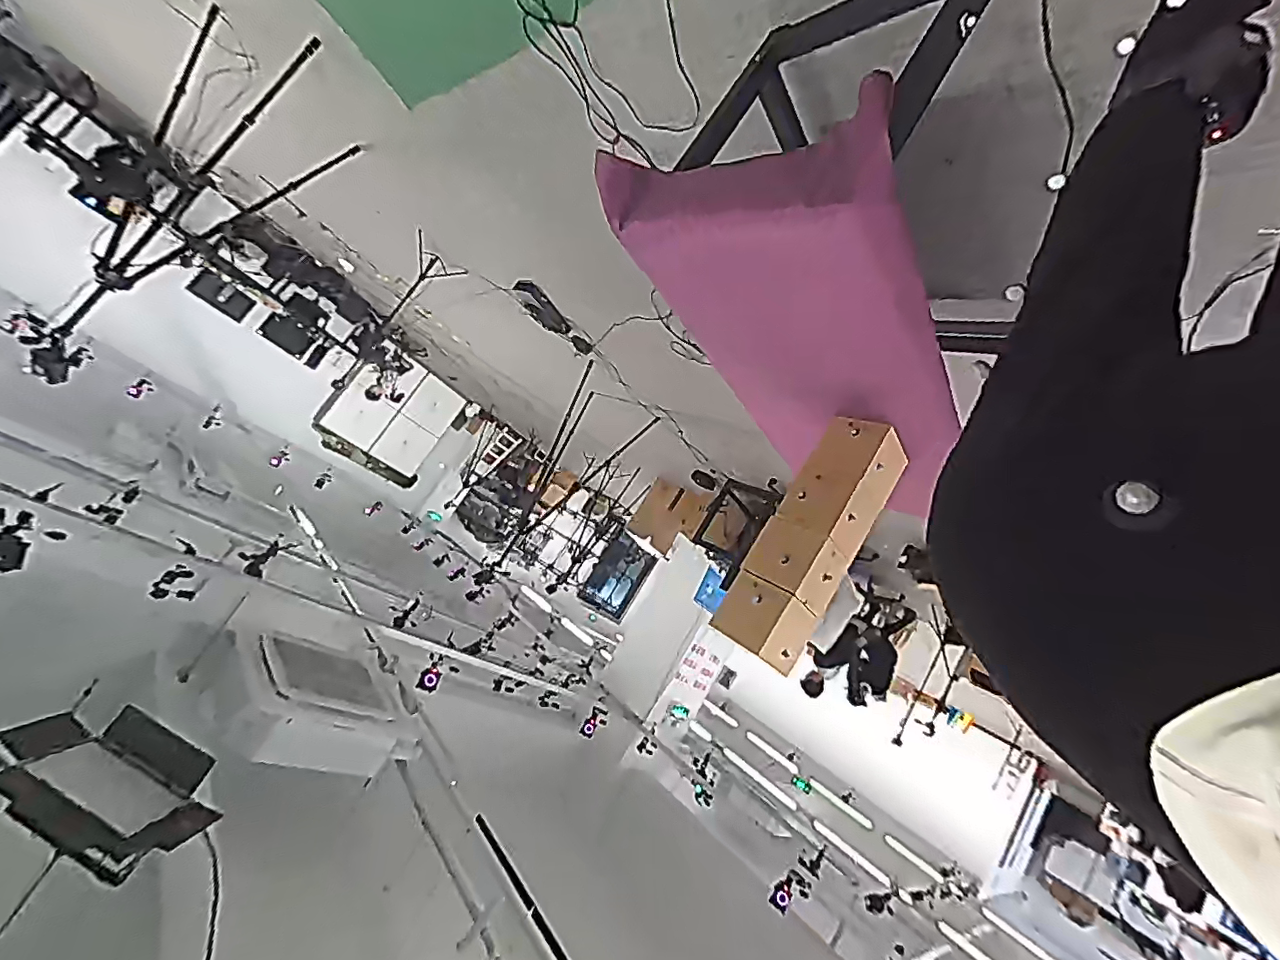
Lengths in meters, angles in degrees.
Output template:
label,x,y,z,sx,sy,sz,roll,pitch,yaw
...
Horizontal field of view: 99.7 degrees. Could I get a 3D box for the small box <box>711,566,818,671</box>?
label,x,y,z,sx,sy,sz,roll,pitch,yaw
small box,0.318,0.344,1.357,0.168,0.176,0.179,23,165,49

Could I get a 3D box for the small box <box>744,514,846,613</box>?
label,x,y,z,sx,sy,sz,roll,pitch,yaw
small box,0.405,0.208,1.388,0.179,0.176,0.168,22,164,48

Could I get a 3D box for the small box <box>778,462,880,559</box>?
label,x,y,z,sx,sy,sz,roll,pitch,yaw
small box,0.497,0.075,1.411,0.168,0.176,0.179,23,166,47
